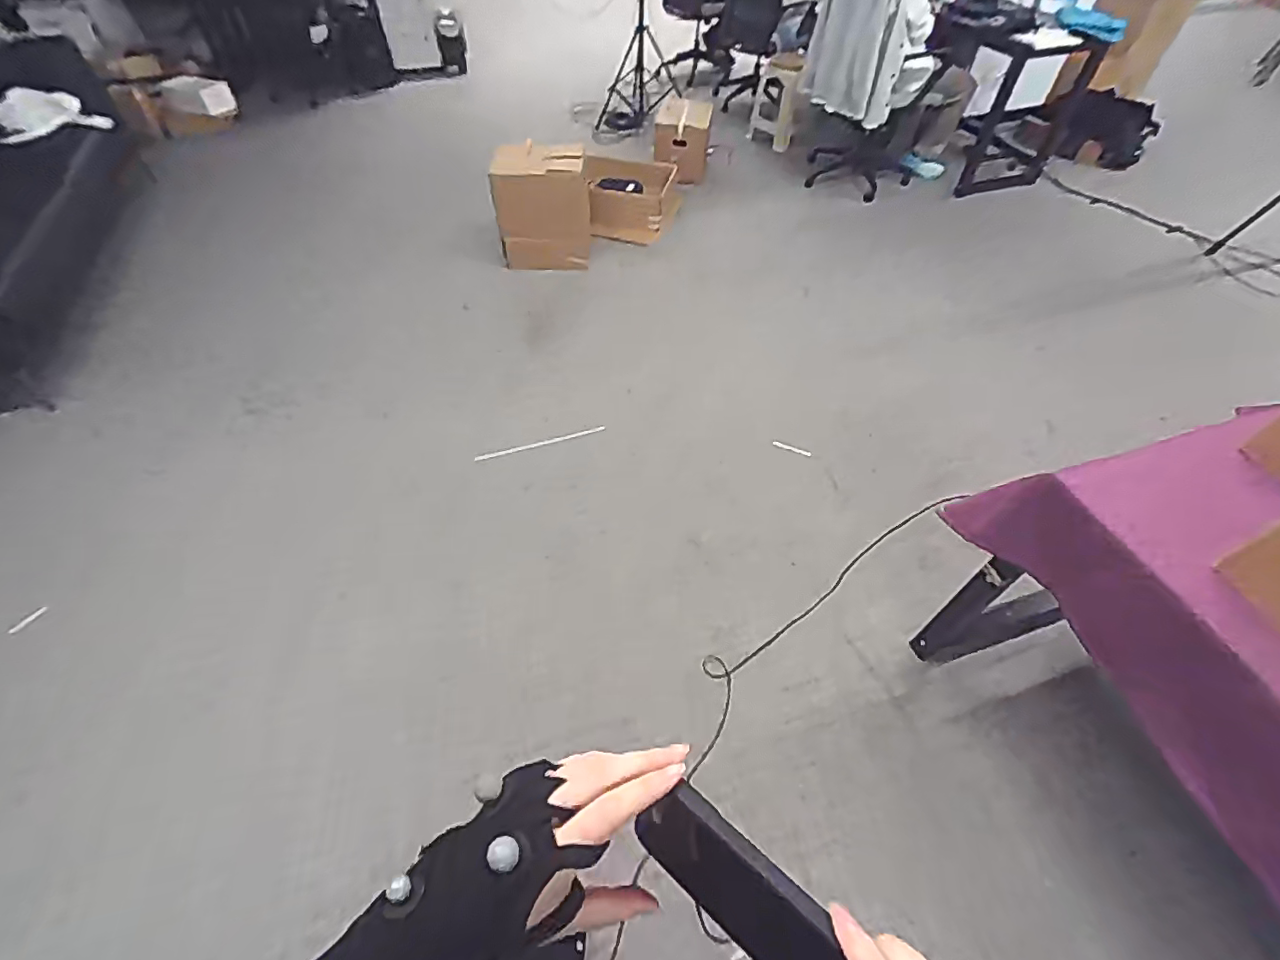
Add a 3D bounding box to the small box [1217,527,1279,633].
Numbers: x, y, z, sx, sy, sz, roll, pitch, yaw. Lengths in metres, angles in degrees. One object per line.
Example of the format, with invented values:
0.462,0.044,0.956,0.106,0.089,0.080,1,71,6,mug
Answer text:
0.991,0.133,0.747,0.168,0.176,0.179,-12,53,-10,small box
